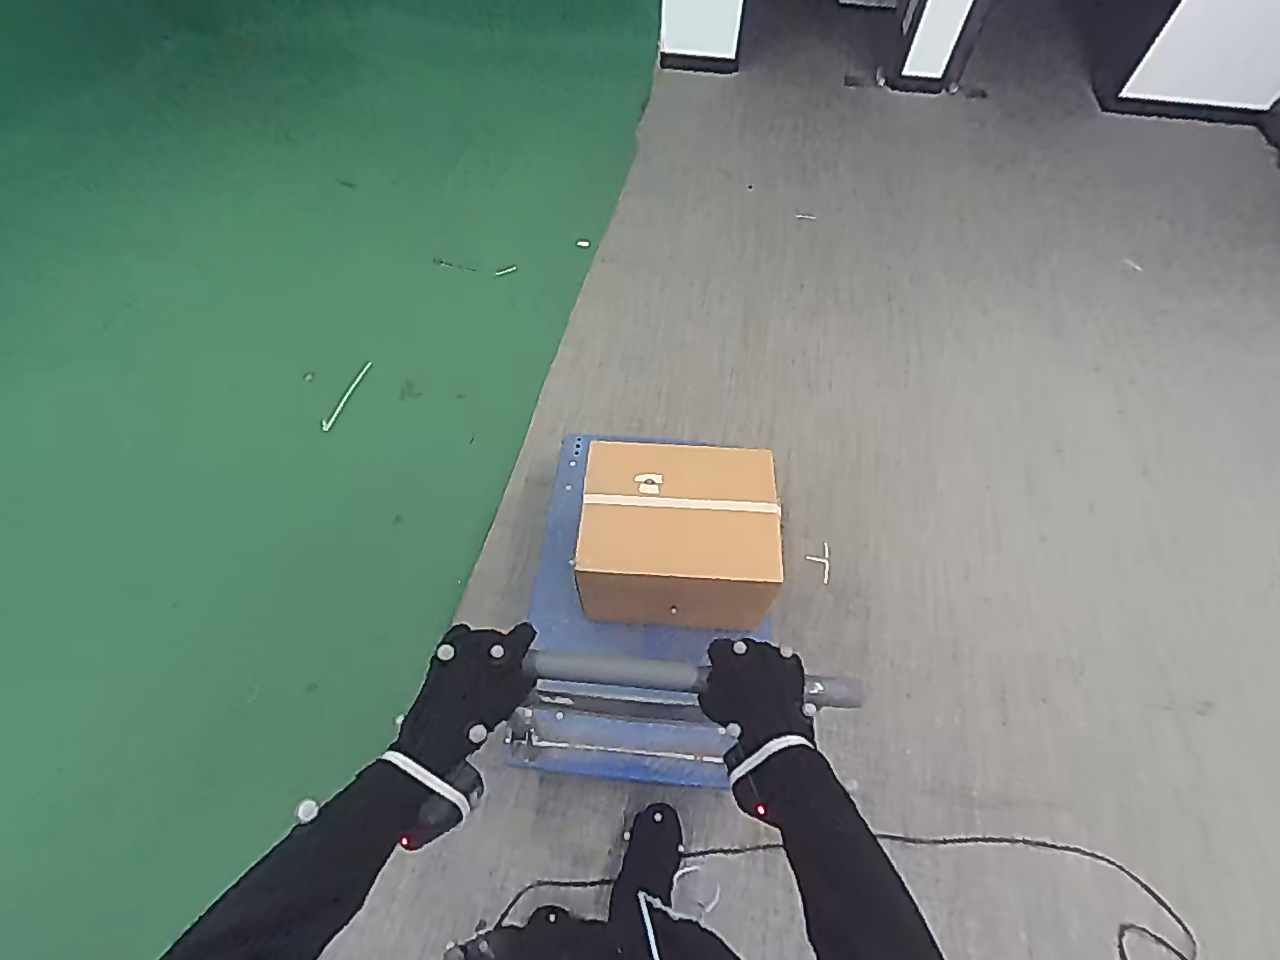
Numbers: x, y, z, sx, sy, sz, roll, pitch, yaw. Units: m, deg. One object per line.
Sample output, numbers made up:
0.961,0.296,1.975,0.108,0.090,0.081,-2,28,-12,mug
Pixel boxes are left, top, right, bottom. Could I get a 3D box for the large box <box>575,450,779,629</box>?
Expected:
0.083,0.146,1.251,0.408,0.320,0.320,2,57,3,large box
